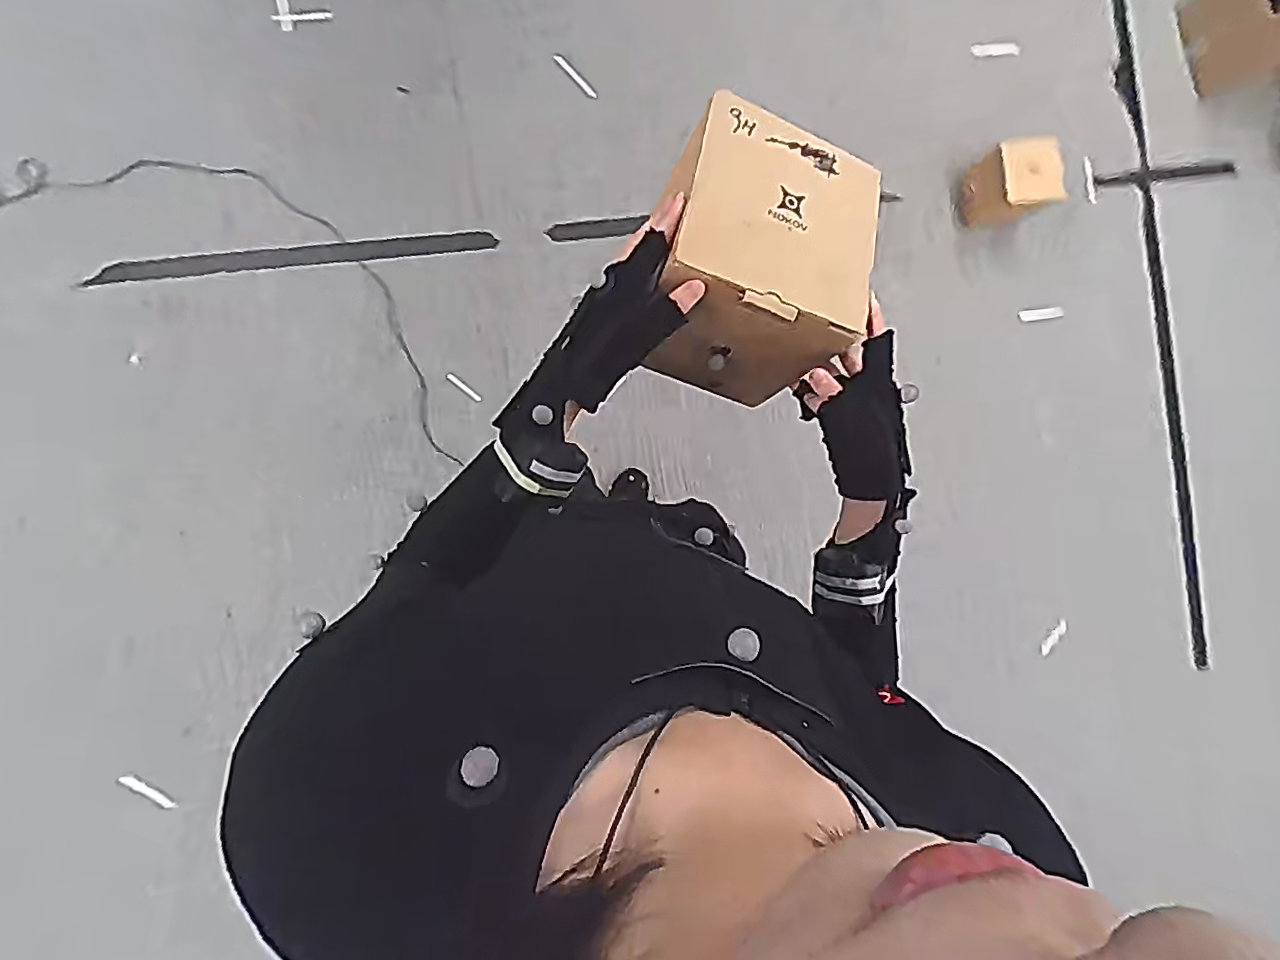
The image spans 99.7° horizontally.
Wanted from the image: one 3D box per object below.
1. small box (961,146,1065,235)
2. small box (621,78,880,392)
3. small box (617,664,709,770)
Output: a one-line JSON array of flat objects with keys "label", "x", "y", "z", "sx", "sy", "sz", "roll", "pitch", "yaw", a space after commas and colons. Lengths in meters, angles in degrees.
[{"label": "small box", "x": 1.071, "y": -0.830, "z": 1.562, "sx": 0.179, "sy": 0.176, "sz": 0.168, "roll": -9, "pitch": 91, "yaw": -6}, {"label": "small box", "x": 0.090, "y": -0.204, "z": 0.503, "sx": 0.168, "sy": 0.176, "sz": 0.179, "roll": 16, "pitch": 74, "yaw": -14}, {"label": "small box", "x": 0.055, "y": 0.630, "z": 1.464, "sx": 0.179, "sy": 0.176, "sz": 0.168, "roll": 42, "pitch": 86, "yaw": -5}]
